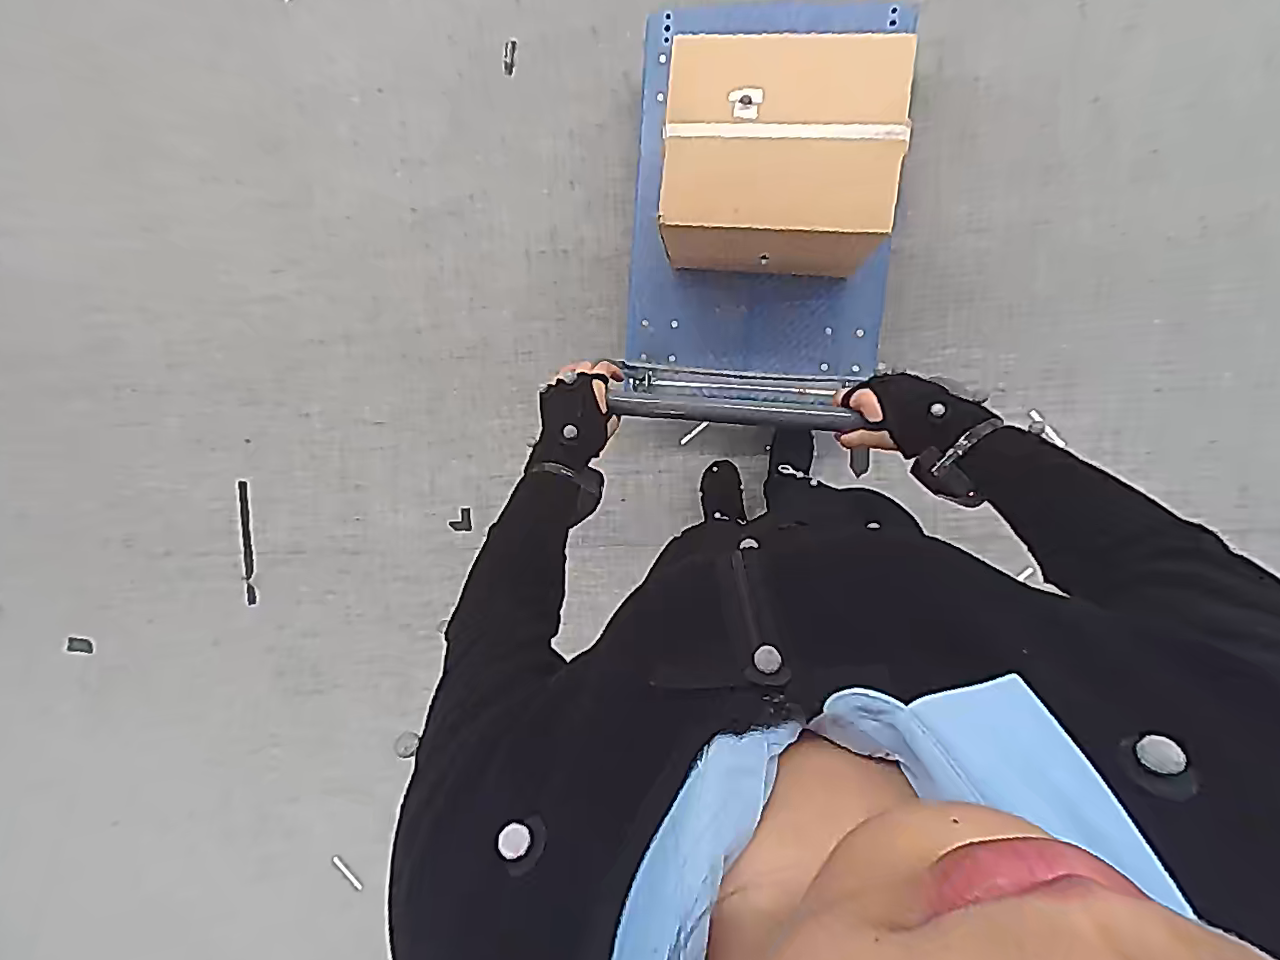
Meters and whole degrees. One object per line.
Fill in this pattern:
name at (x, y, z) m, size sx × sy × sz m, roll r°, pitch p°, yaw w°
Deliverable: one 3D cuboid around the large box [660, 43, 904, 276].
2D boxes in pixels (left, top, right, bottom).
large box at (0.266, -0.611, 1.096) m, size 0.408 × 0.320 × 0.320 m, roll 5°, pitch 96°, yaw 9°
